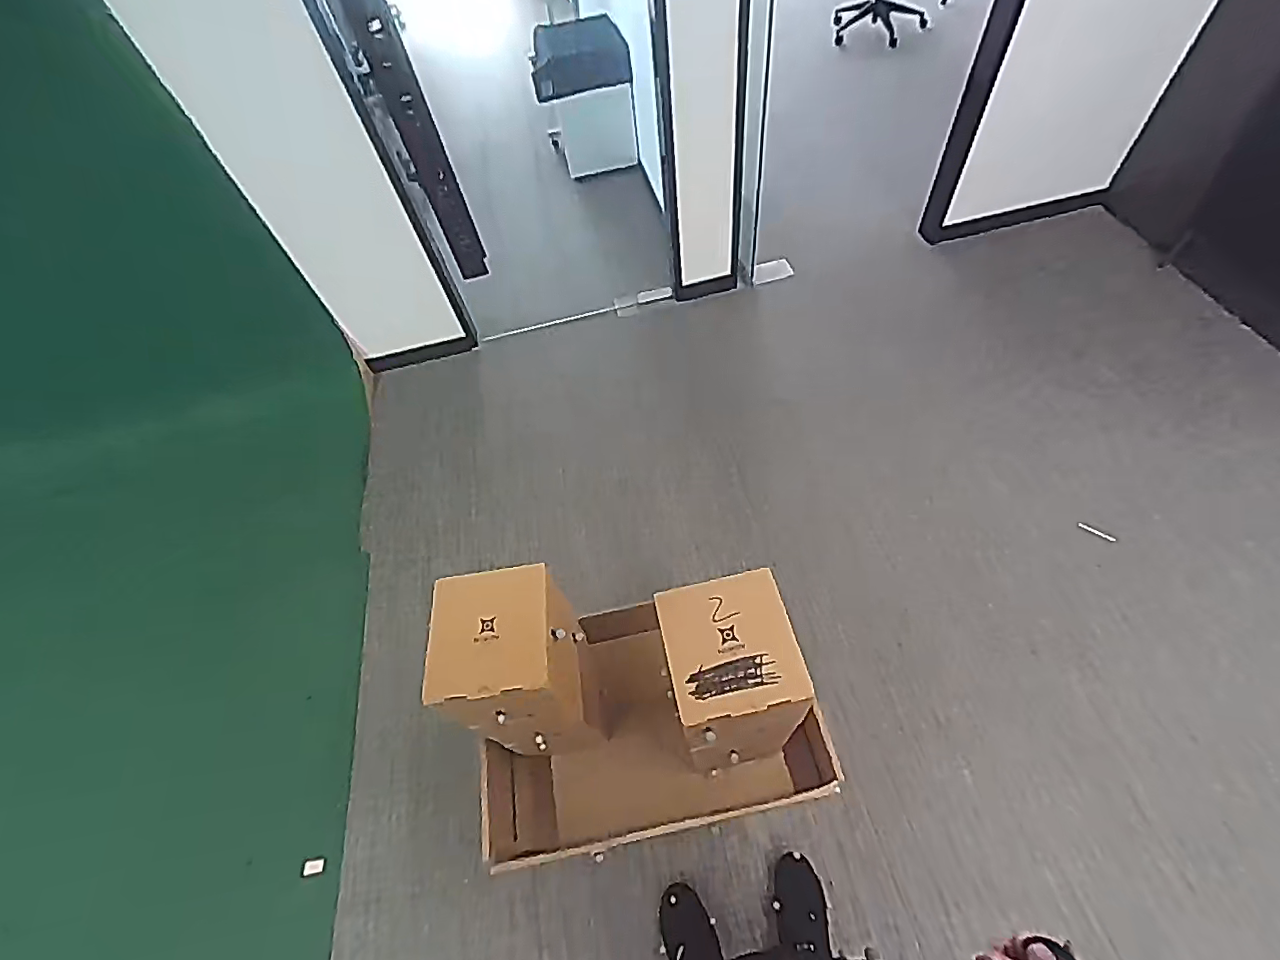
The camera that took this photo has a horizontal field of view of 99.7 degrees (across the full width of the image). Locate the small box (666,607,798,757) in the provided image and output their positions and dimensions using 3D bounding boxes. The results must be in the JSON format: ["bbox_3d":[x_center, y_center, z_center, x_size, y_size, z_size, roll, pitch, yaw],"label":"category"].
[{"bbox_3d":[0.142,0.336,0.891,0.168,0.176,0.179,-13,56,-1],"label":"small box"}]

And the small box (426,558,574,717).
[{"bbox_3d":[-0.195,0.238,0.805,0.168,0.176,0.179,-8,57,2],"label":"small box"}]

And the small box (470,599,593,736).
[{"bbox_3d":[-0.180,0.328,0.939,0.168,0.176,0.179,-10,56,2],"label":"small box"}]

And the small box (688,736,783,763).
[{"bbox_3d":[0.161,0.424,1.026,0.168,0.176,0.179,-13,55,-1],"label":"small box"}]

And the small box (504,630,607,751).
[{"bbox_3d":[-0.164,0.420,1.074,0.168,0.176,0.179,-10,55,0],"label":"small box"}]
